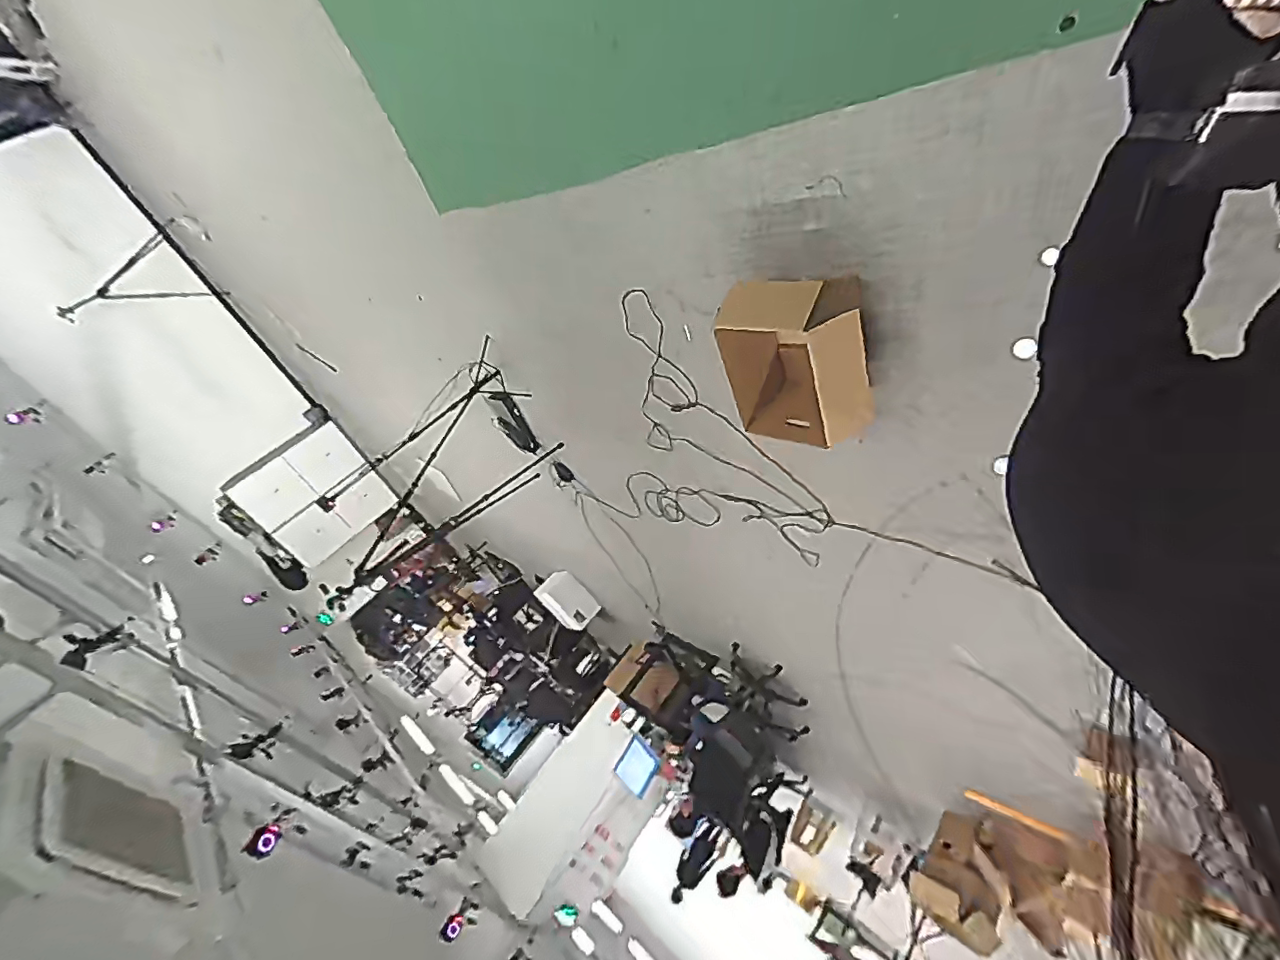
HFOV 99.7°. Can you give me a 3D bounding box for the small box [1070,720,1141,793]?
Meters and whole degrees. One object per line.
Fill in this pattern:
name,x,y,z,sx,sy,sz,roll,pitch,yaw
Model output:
small box,1.832,1.078,2.129,0.179,0.176,0.168,14,141,43
